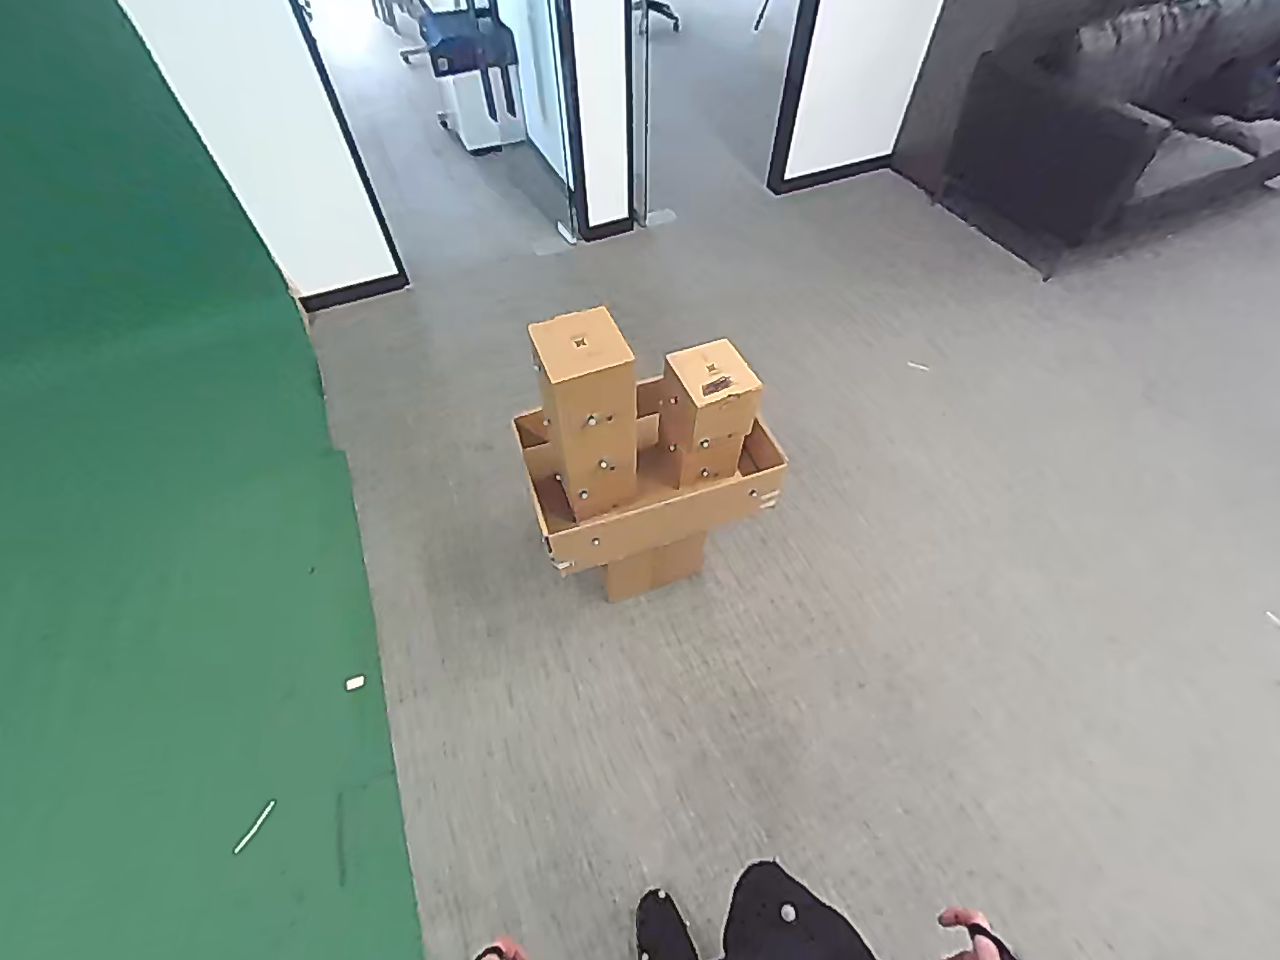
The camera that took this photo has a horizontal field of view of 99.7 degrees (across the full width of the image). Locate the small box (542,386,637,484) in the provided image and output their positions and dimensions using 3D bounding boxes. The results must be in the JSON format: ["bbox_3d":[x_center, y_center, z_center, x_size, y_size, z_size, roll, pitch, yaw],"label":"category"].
[{"bbox_3d":[-0.113,-0.122,1.229,0.168,0.176,0.179,-18,56,-12],"label":"small box"}]

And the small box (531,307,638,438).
[{"bbox_3d":[-0.111,-0.216,1.096,0.168,0.176,0.179,-18,56,-12],"label":"small box"}]

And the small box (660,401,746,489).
[{"bbox_3d":[0.157,-0.105,1.423,0.168,0.176,0.179,-14,56,-11],"label":"small box"}]

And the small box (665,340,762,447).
[{"bbox_3d":[0.167,-0.198,1.288,0.168,0.176,0.179,-18,56,-13],"label":"small box"}]
